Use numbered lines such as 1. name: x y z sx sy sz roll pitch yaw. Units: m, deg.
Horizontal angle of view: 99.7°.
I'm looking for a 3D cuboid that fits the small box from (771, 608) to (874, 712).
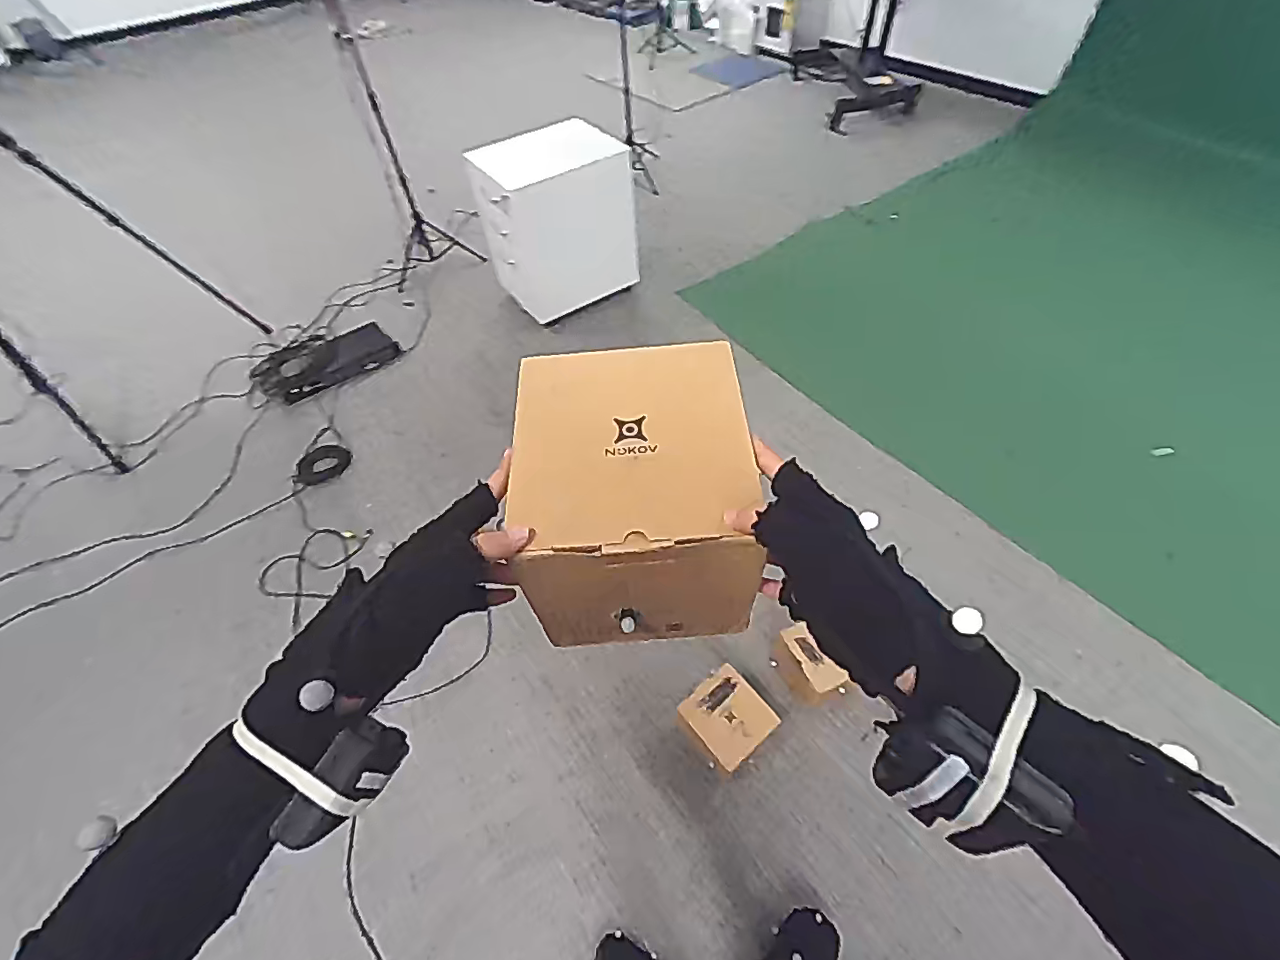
1. small box: 0.447 0.458 1.364 0.179 0.176 0.168 -19 54 -13
